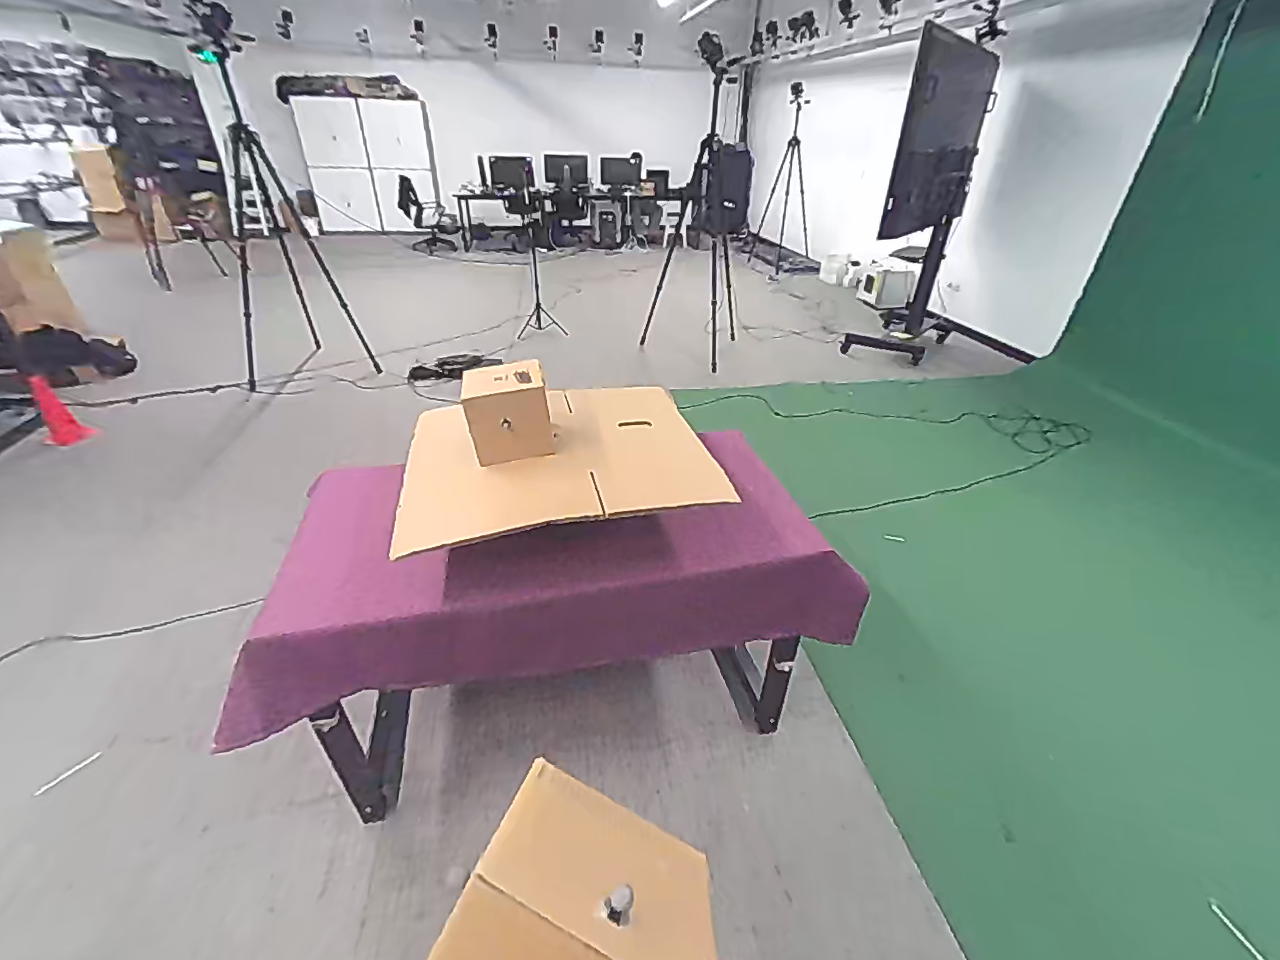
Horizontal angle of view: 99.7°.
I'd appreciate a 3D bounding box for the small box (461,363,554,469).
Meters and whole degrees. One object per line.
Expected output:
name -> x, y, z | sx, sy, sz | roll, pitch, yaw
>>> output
small box -> -0.297, -0.147, 1.242 | 0.179, 0.176, 0.168 | -12, 35, -7
